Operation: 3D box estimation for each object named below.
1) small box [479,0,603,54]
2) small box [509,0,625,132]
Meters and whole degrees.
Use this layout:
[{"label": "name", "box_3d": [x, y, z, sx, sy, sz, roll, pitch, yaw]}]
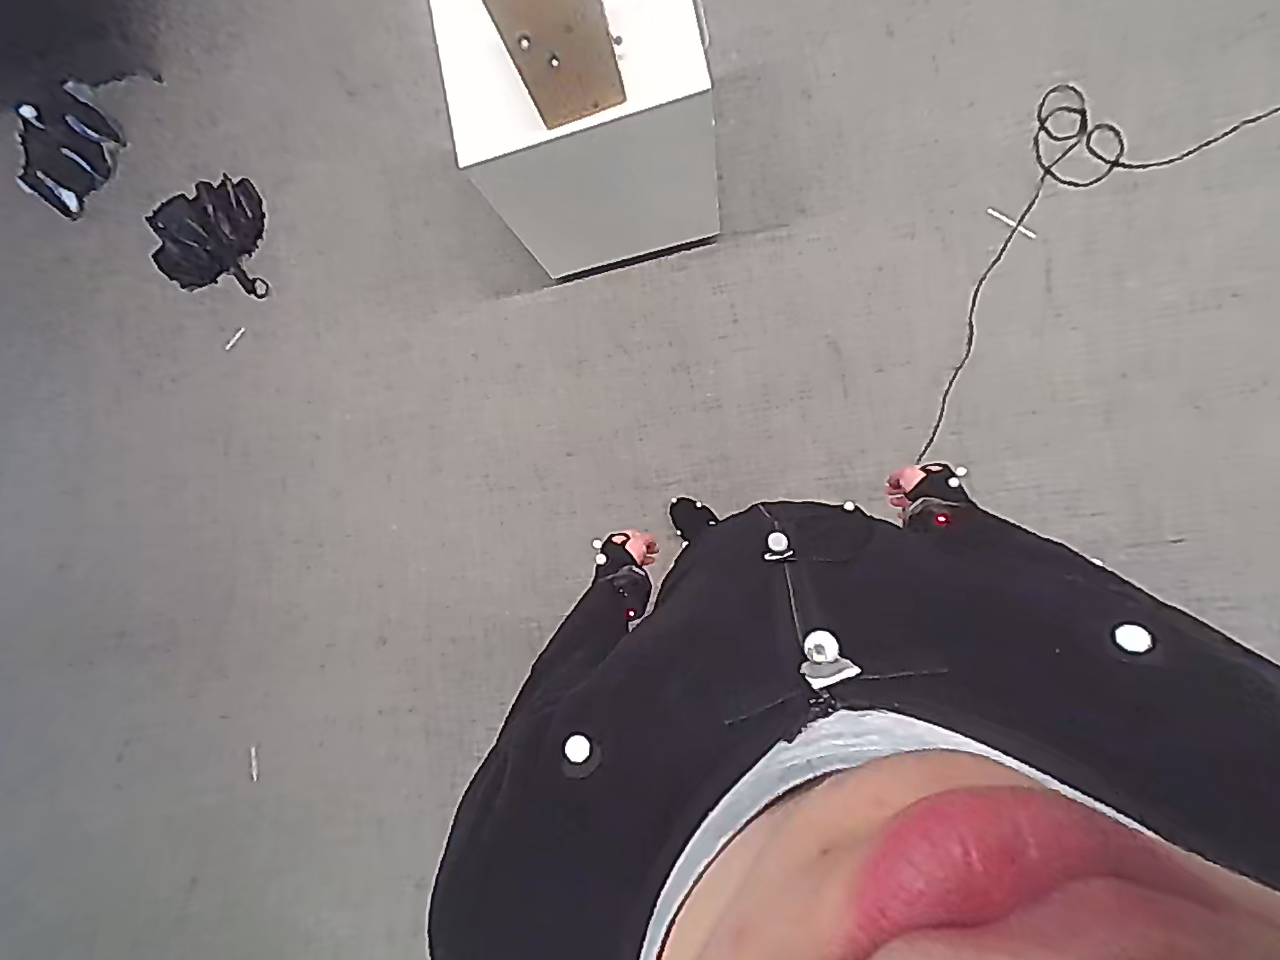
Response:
[{"label": "small box", "box_3d": [-0.165, -0.781, 0.797, 0.168, 0.176, 0.179, -14, 84, 9]}, {"label": "small box", "box_3d": [-0.136, -0.772, 0.959, 0.168, 0.176, 0.179, -15, 84, 10]}]
